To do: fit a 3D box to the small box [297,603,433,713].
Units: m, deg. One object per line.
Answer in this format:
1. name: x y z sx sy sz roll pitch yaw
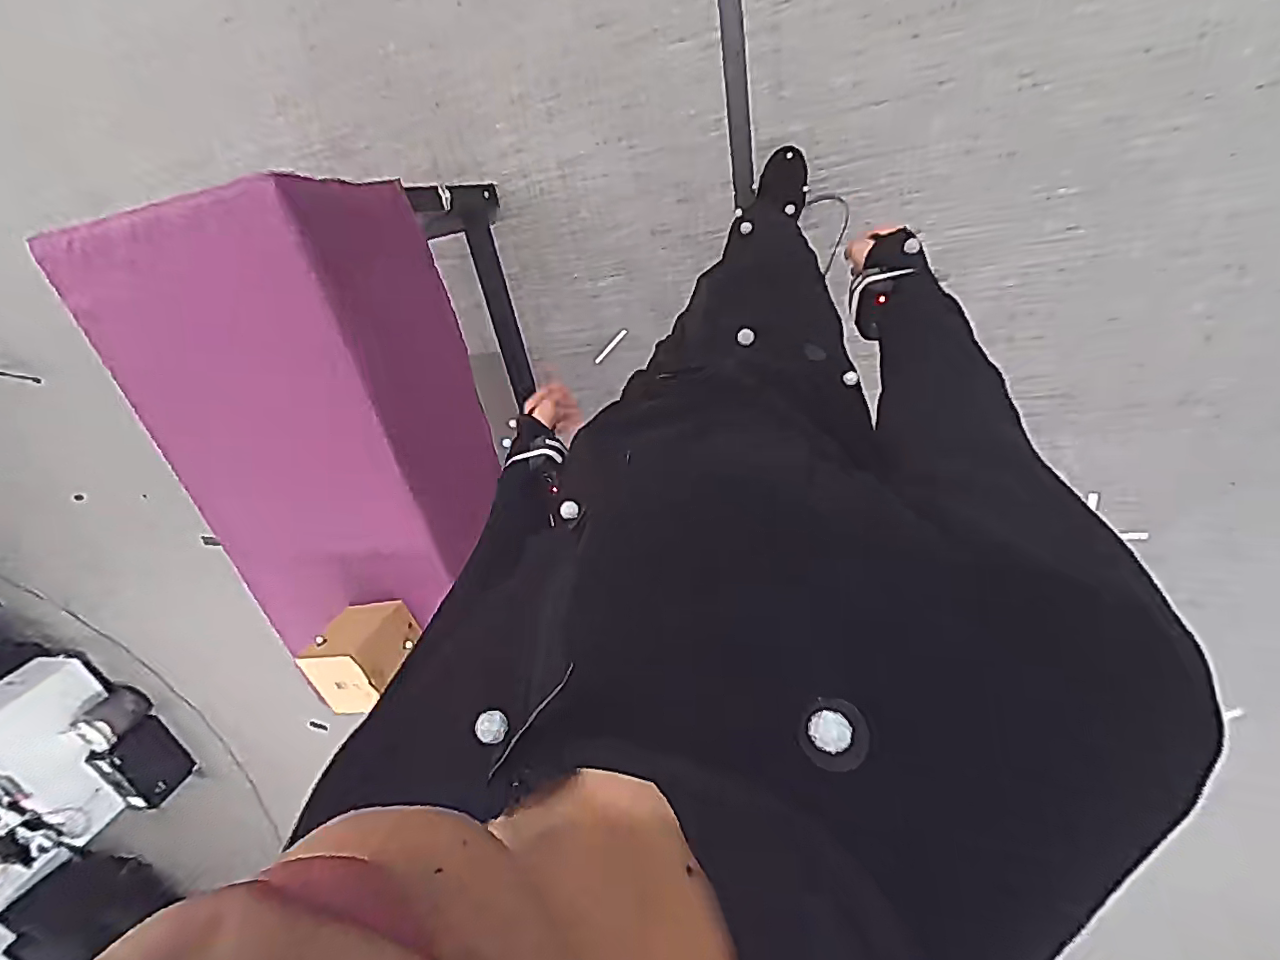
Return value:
1. small box: -0.607 0.396 1.215 0.179 0.176 0.168 -11 115 21
